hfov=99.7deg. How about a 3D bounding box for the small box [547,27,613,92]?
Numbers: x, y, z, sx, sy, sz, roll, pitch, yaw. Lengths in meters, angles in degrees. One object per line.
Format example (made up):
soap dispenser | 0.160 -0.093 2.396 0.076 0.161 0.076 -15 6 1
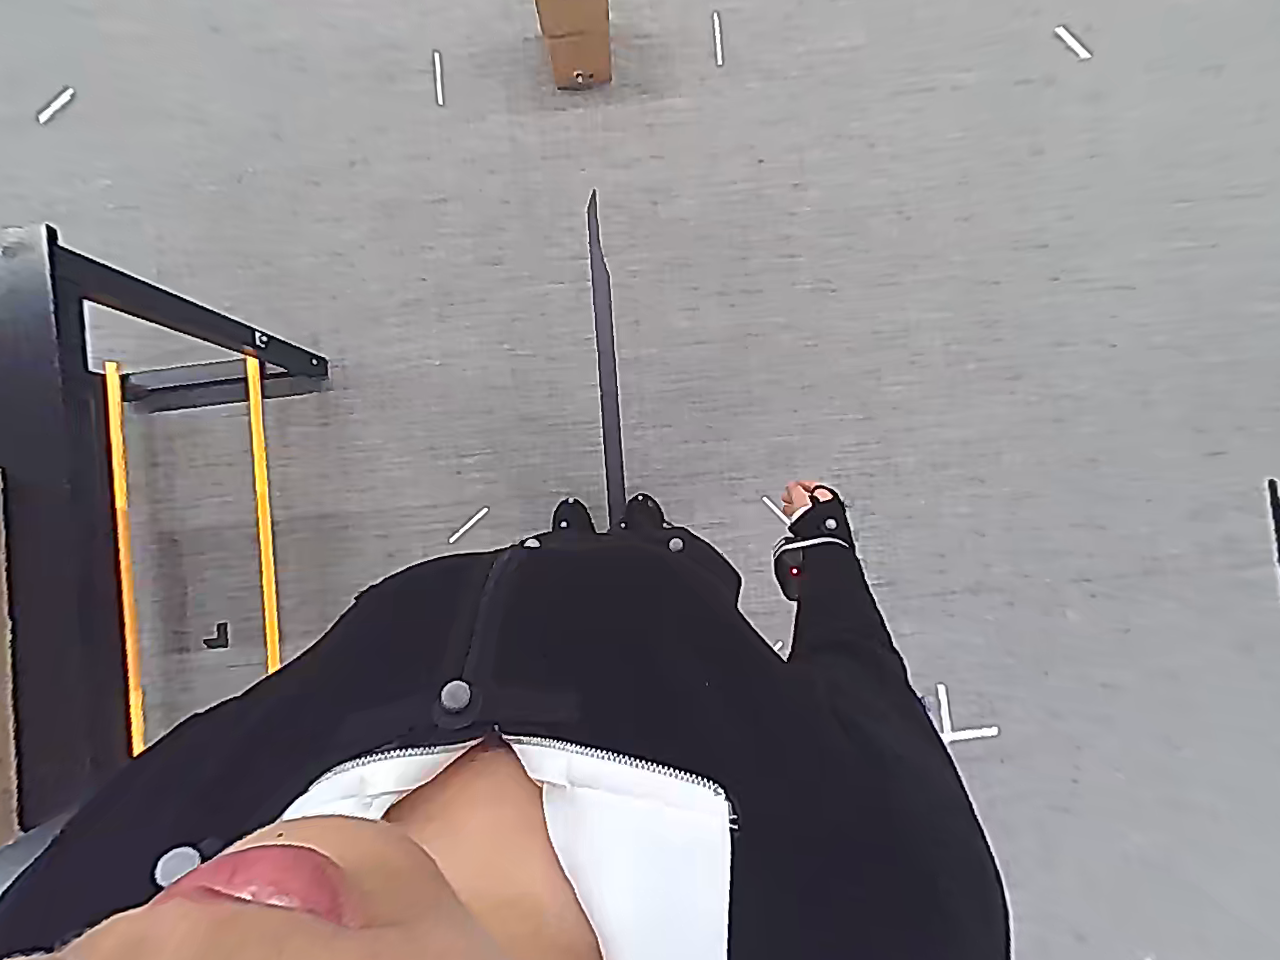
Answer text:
small box | -0.168 -1.198 1.454 0.168 0.176 0.179 -10 90 0

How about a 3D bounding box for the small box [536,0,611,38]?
small box | -0.168 -1.204 1.289 0.179 0.176 0.168 -6 89 0
